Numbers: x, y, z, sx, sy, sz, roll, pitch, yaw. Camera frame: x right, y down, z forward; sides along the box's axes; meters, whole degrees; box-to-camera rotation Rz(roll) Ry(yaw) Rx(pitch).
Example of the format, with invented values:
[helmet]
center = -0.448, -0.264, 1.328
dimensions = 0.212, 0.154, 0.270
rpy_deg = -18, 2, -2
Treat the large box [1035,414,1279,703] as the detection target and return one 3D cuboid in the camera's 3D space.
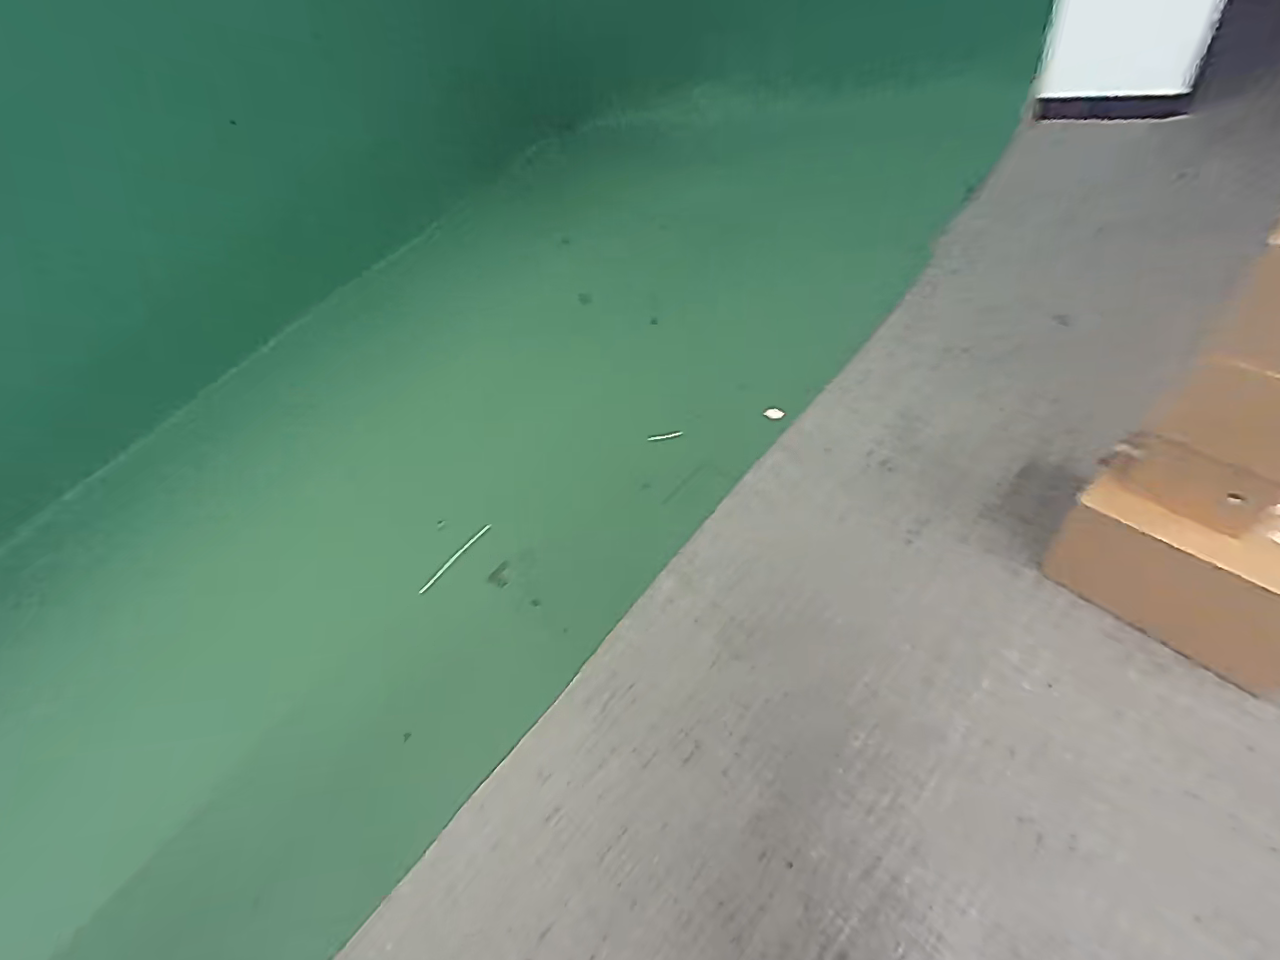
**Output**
[large box]
center = 1.094, 0.142, 1.049
dimensions = 0.320, 0.320, 0.408
rpy_deg = -43, 51, -12
